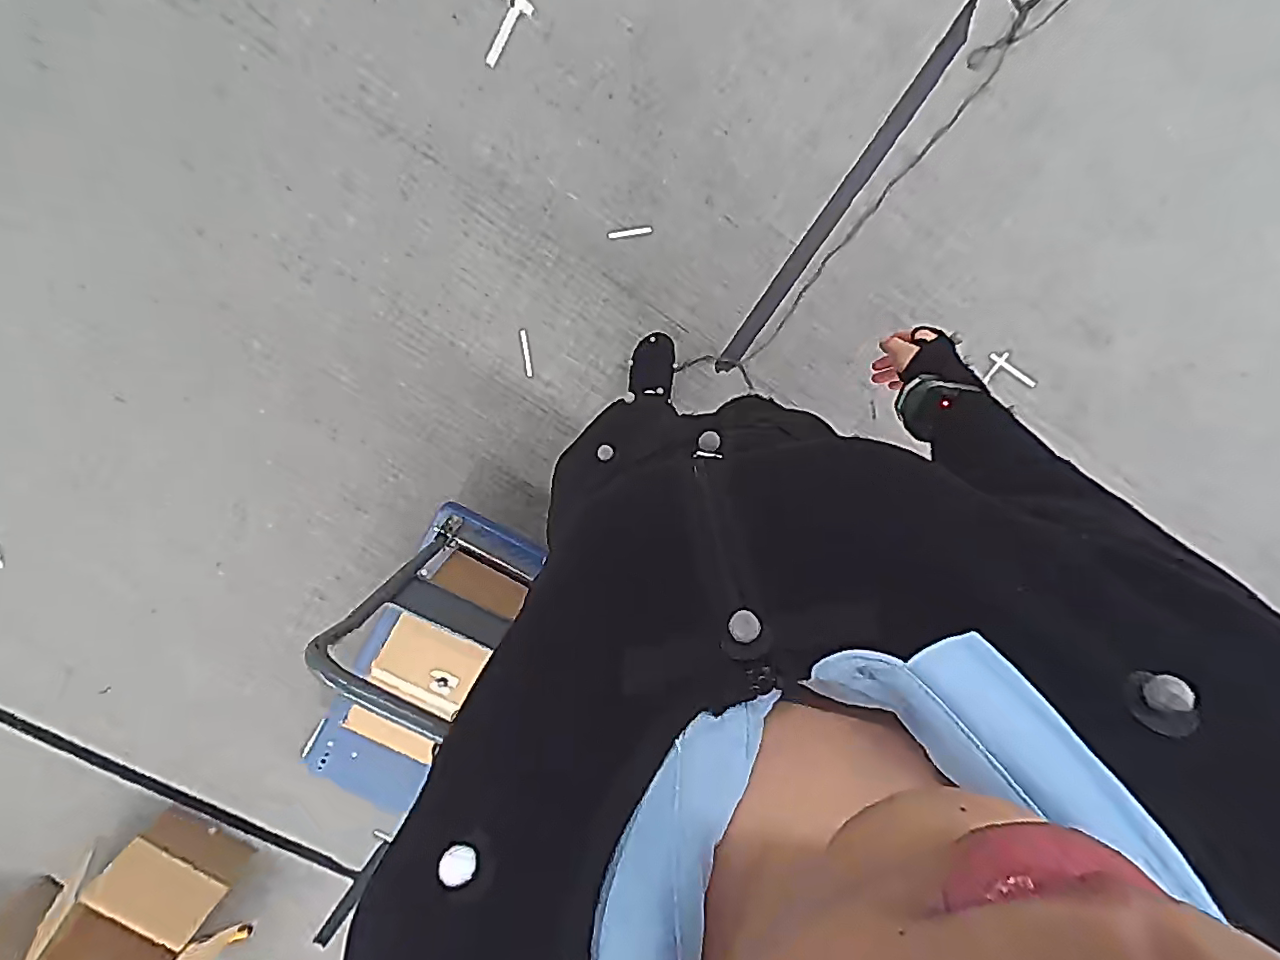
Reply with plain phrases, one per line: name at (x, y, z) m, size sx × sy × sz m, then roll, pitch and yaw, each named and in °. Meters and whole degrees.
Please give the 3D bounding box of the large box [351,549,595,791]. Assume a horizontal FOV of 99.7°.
large box at (-0.357, 0.423, 1.263) m, size 0.408 × 0.320 × 0.320 m, roll 30°, pitch 101°, yaw -7°
